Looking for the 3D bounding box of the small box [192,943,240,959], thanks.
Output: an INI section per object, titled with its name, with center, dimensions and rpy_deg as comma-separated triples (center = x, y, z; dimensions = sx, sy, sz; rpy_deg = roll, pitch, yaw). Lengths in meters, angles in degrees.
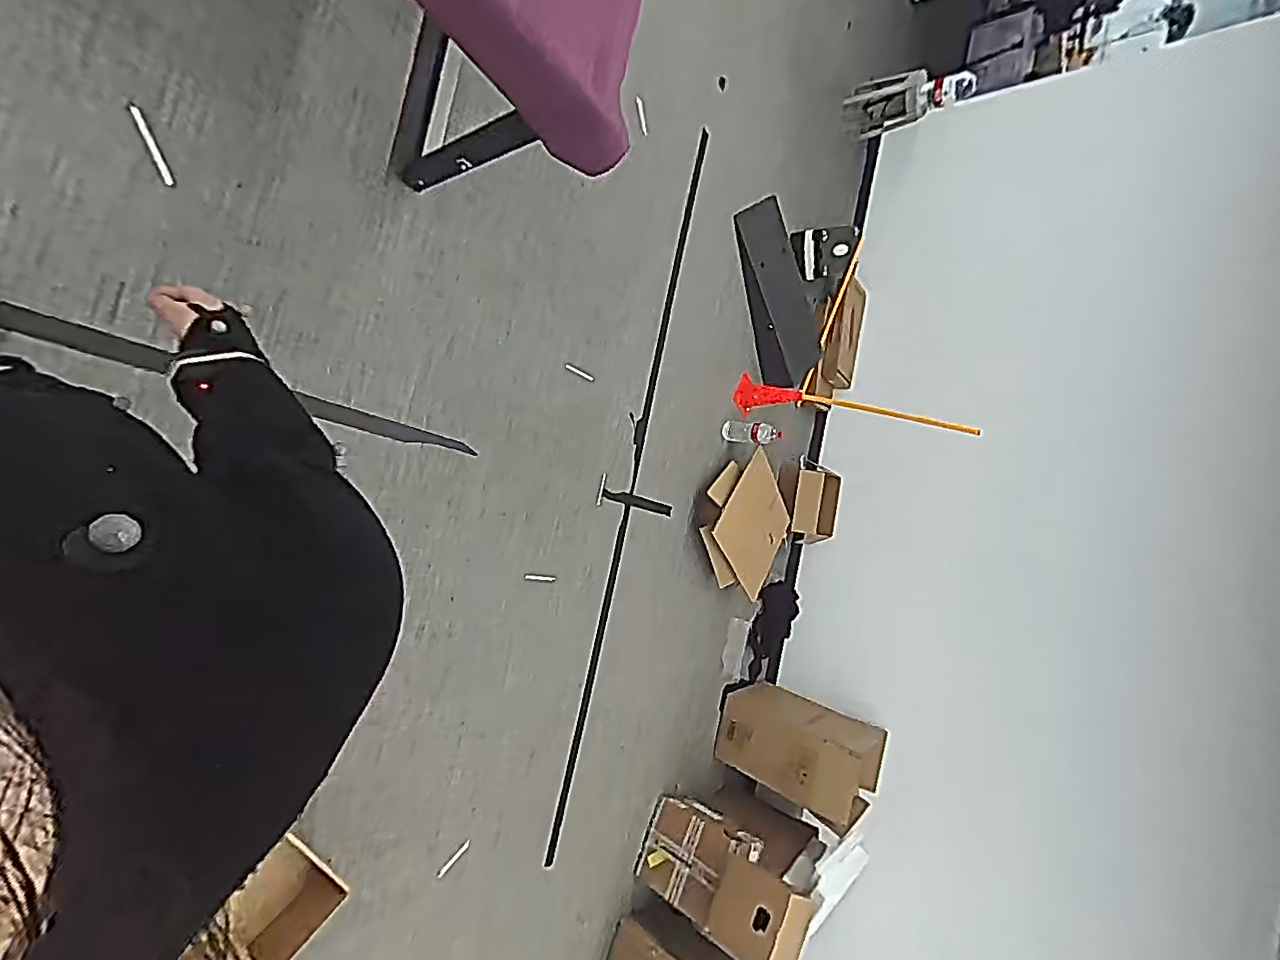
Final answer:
[small box]
center = -0.889, 1.105, 1.101
dimensions = 0.168, 0.176, 0.179
rpy_deg = -38, 125, -40
